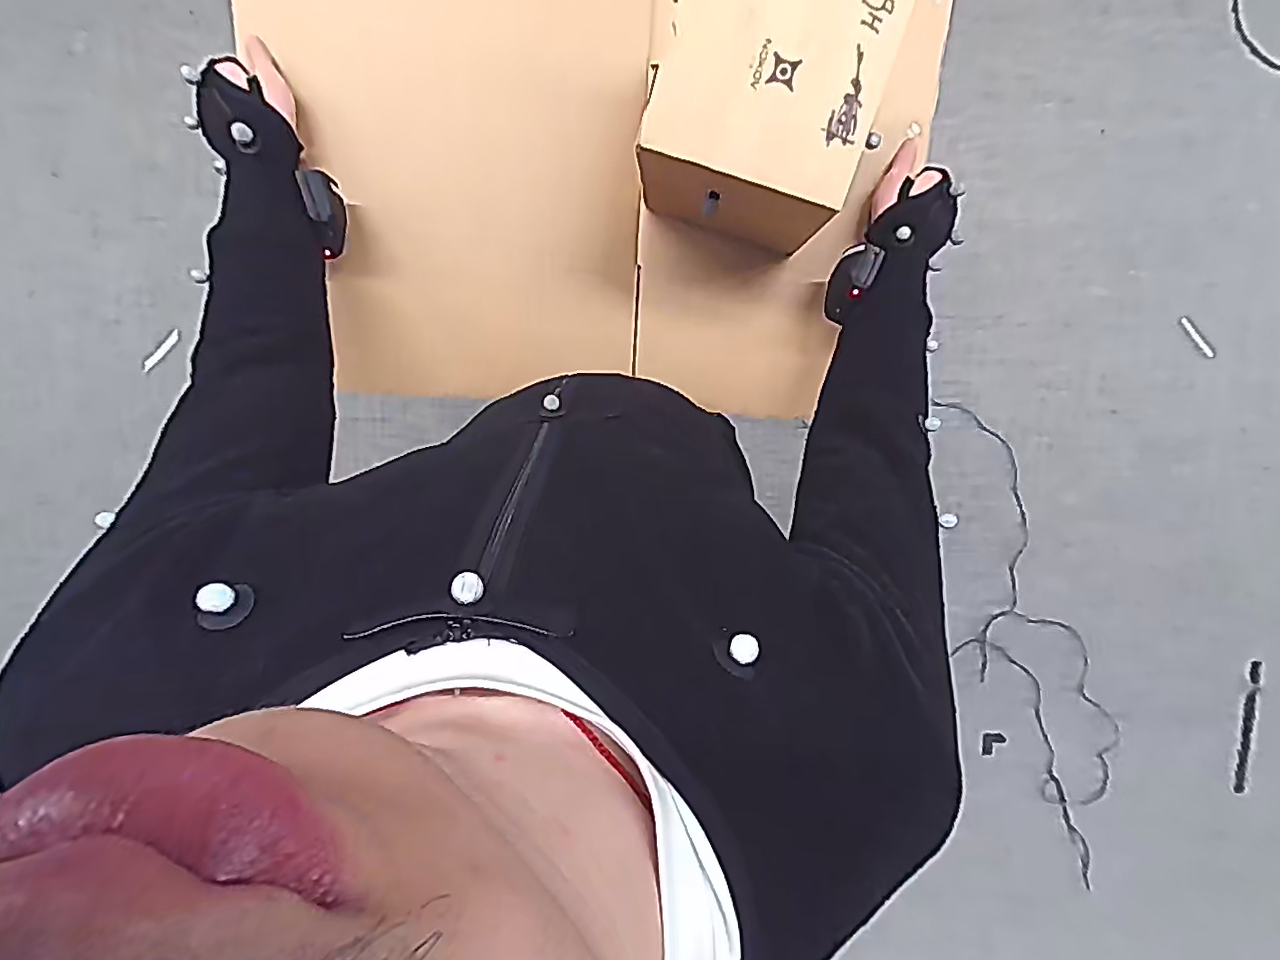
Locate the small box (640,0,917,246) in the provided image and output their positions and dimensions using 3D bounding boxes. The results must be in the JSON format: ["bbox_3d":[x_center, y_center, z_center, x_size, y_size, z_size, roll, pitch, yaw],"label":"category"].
[{"bbox_3d":[0.111,-0.337,0.502,0.179,0.176,0.168,18,102,0],"label":"small box"}]
